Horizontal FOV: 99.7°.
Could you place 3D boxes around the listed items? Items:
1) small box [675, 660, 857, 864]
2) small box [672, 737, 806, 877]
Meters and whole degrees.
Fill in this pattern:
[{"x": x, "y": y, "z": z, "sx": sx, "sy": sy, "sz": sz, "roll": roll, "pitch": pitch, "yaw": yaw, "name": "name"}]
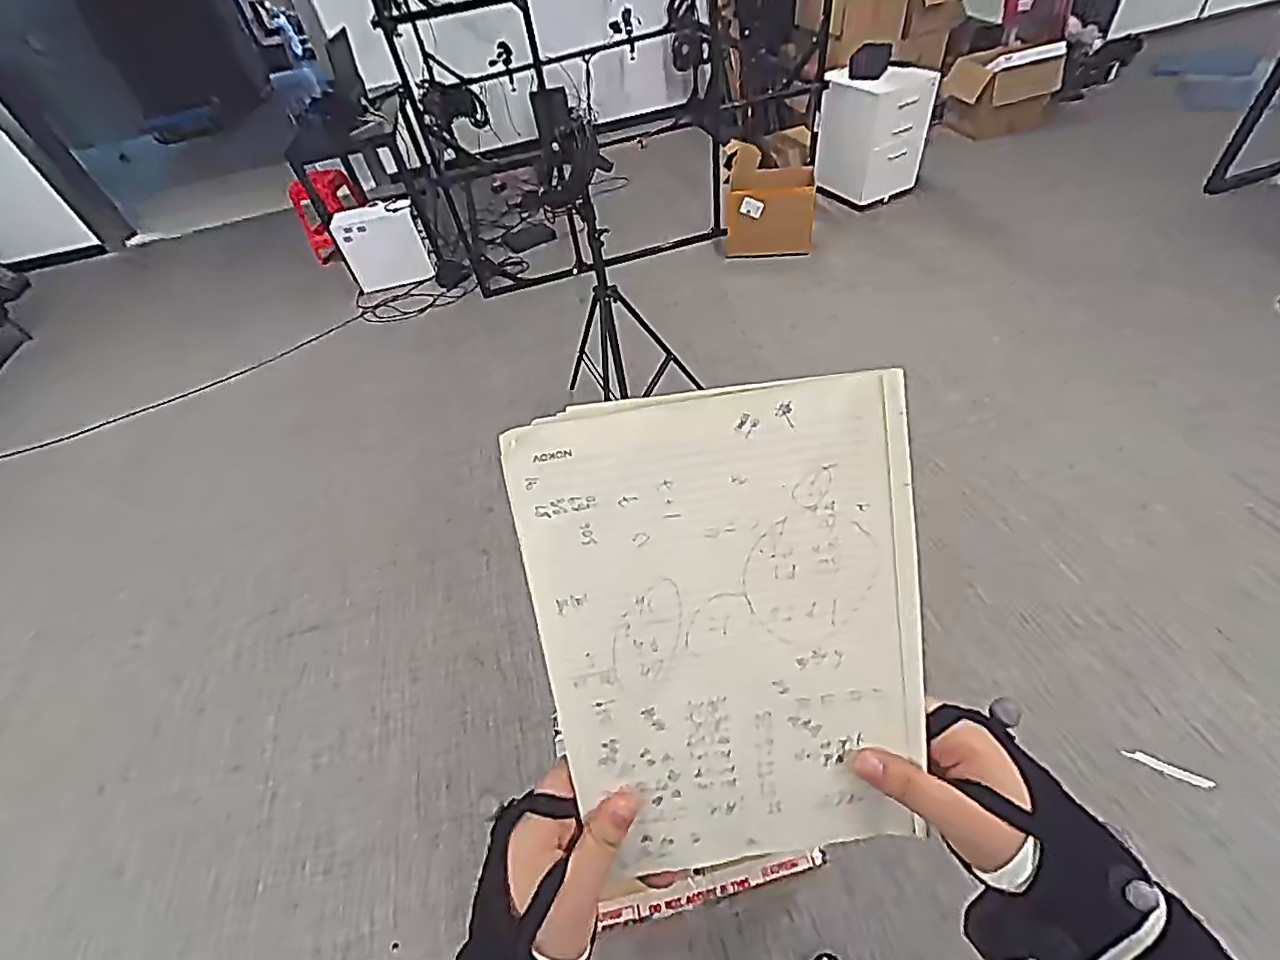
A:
[{"x": 0.146, "y": 0.364, "z": 0.696, "sx": 0.168, "sy": 0.176, "sz": 0.179, "roll": -14, "pitch": 50, "yaw": -5, "name": "small box"}, {"x": 0.157, "y": 0.472, "z": 0.820, "sx": 0.179, "sy": 0.176, "sz": 0.168, "roll": -17, "pitch": 49, "yaw": -7, "name": "small box"}]
